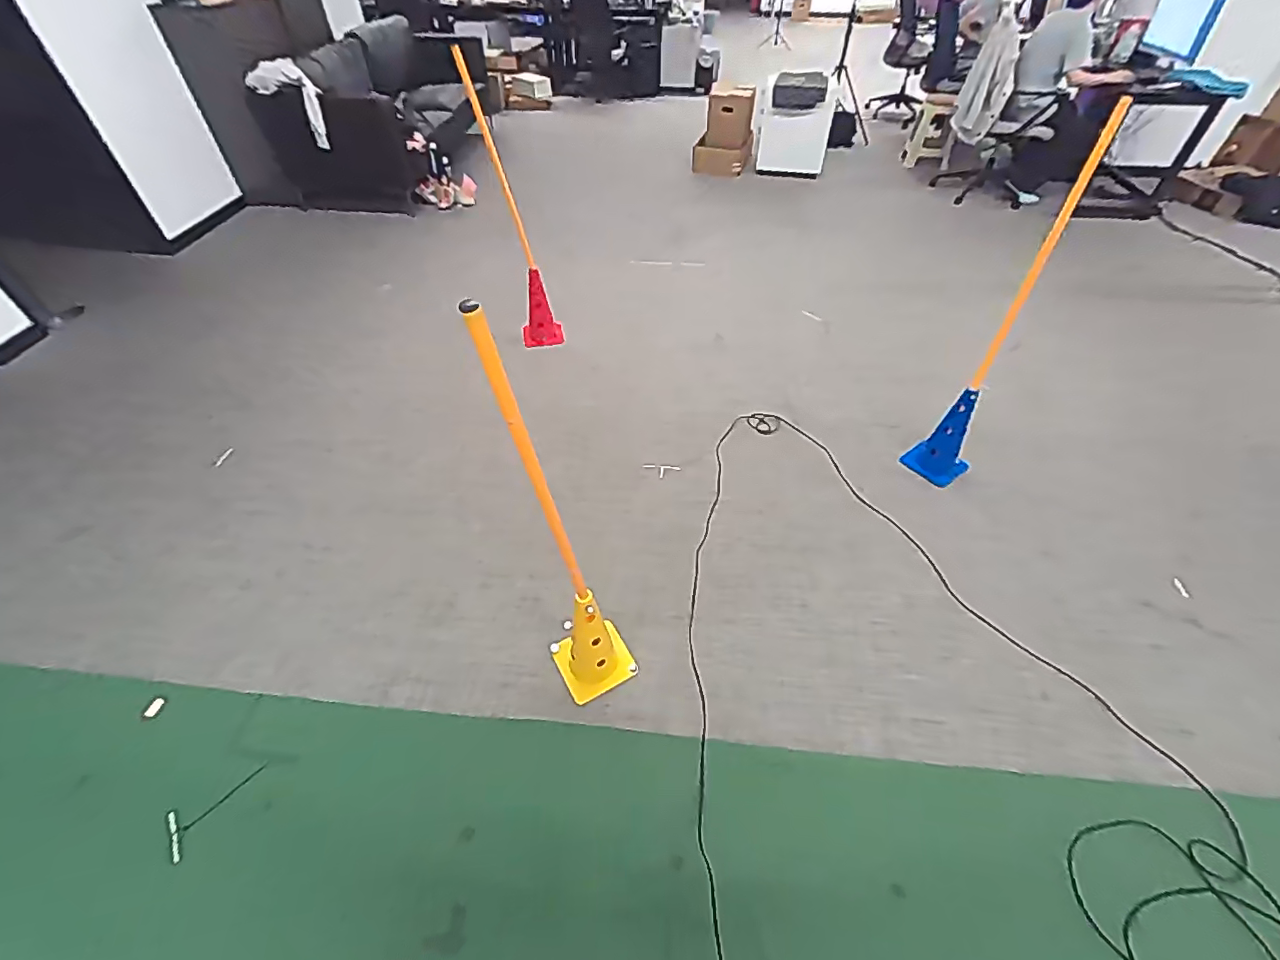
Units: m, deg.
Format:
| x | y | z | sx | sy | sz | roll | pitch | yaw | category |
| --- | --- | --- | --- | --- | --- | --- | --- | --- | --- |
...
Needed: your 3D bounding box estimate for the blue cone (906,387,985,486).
| x | y | z | sx | sy | sz | roll | pitch | yaw | category |
| --- | --- | --- | --- | --- | --- | --- | --- | --- | --- |
| 1.153 | -0.182 | 1.984 | 0.193 | 0.380 | 0.192 | -29 | 52 | -27 | blue cone |
